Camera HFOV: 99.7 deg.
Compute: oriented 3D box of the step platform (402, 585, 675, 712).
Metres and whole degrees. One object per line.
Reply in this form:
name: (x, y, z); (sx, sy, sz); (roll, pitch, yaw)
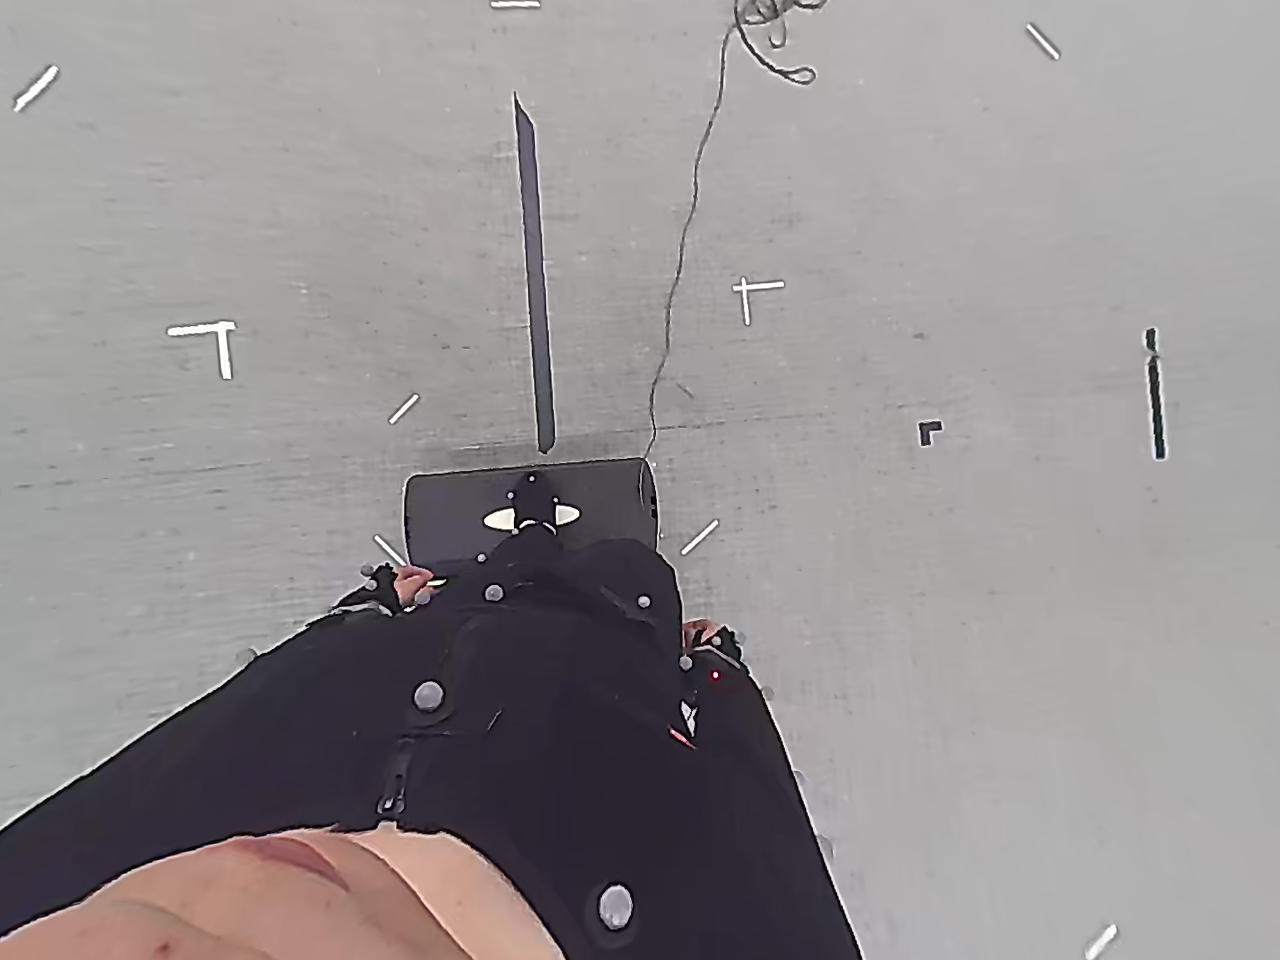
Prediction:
step platform: (-0.249, 0.431, 1.404); (0.684, 0.204, 0.286); (0, 86, -2)
